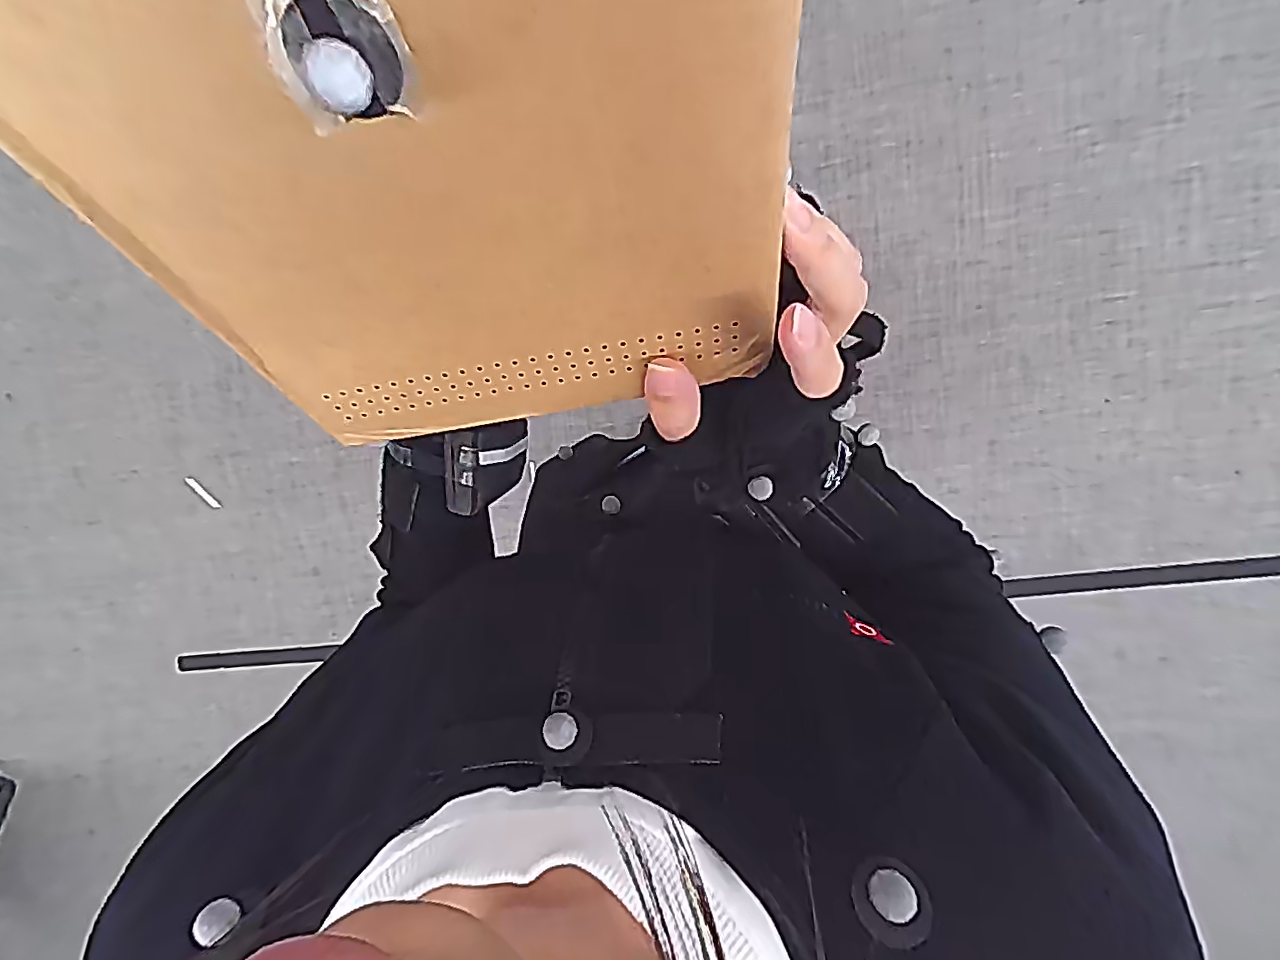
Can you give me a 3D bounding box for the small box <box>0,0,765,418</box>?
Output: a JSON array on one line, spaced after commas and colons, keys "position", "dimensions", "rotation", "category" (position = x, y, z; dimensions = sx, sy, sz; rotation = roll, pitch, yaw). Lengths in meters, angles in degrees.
[{"position": [-0.052, -0.141, 0.203], "dimensions": [0.179, 0.176, 0.168], "rotation": [-8, 61, 5], "category": "small box"}]
